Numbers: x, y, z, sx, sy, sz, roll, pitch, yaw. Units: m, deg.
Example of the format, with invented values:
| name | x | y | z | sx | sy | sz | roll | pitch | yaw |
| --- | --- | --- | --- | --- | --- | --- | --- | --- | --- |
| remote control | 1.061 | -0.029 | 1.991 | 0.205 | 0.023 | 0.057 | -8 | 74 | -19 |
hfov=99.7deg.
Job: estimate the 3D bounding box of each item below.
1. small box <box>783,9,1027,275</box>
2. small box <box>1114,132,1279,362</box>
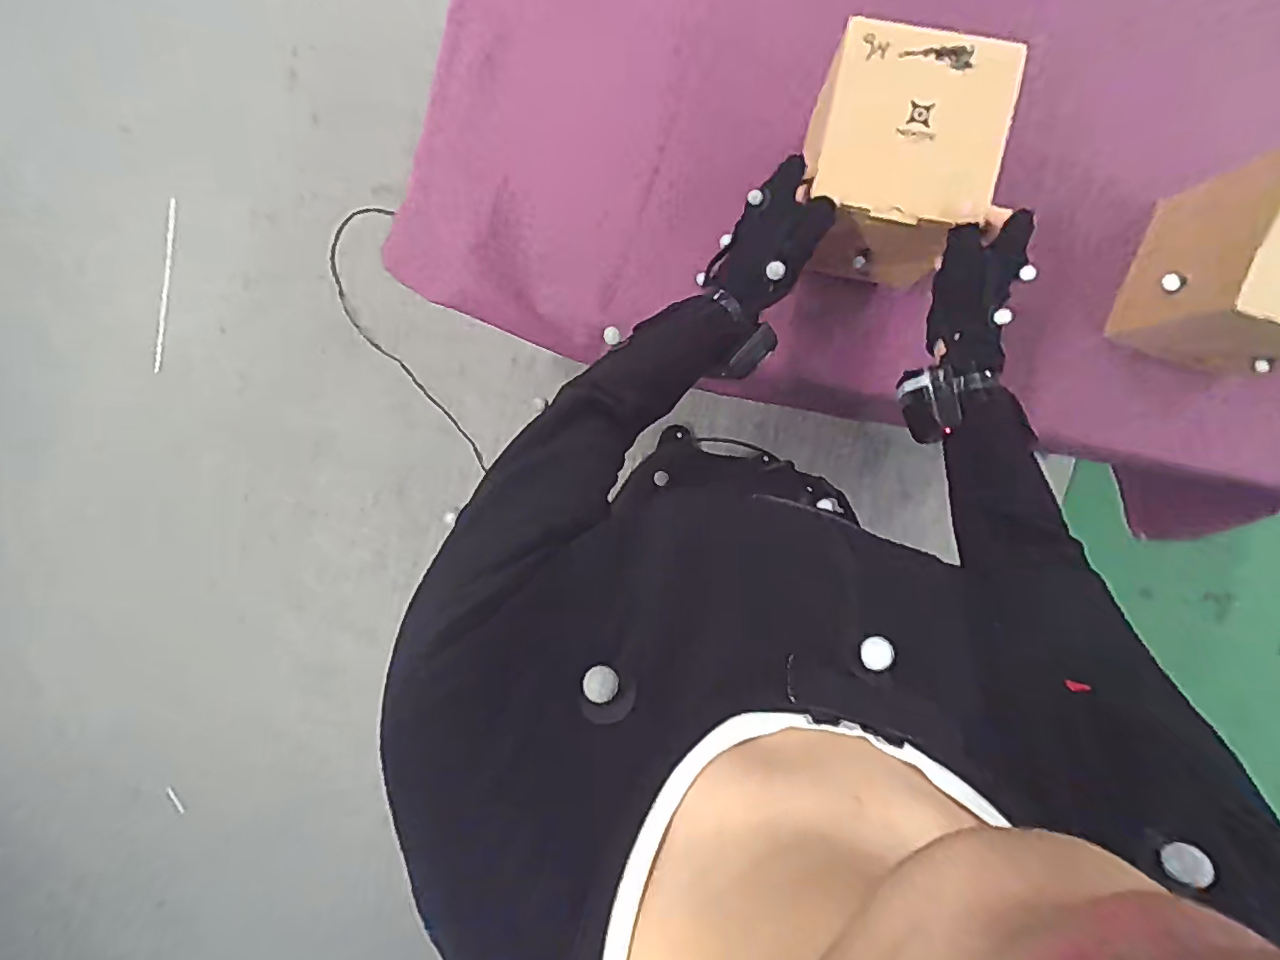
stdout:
| name | x | y | z | sx | sy | sz | roll | pitch | yaw |
| --- | --- | --- | --- | --- | --- | --- | --- | --- | --- |
| small box | 0.262 | -0.341 | 0.583 | 0.168 | 0.176 | 0.179 | 13 | 94 | 3 |
| small box | 0.677 | -0.239 | 0.584 | 0.168 | 0.176 | 0.179 | 19 | 97 | 2 |
